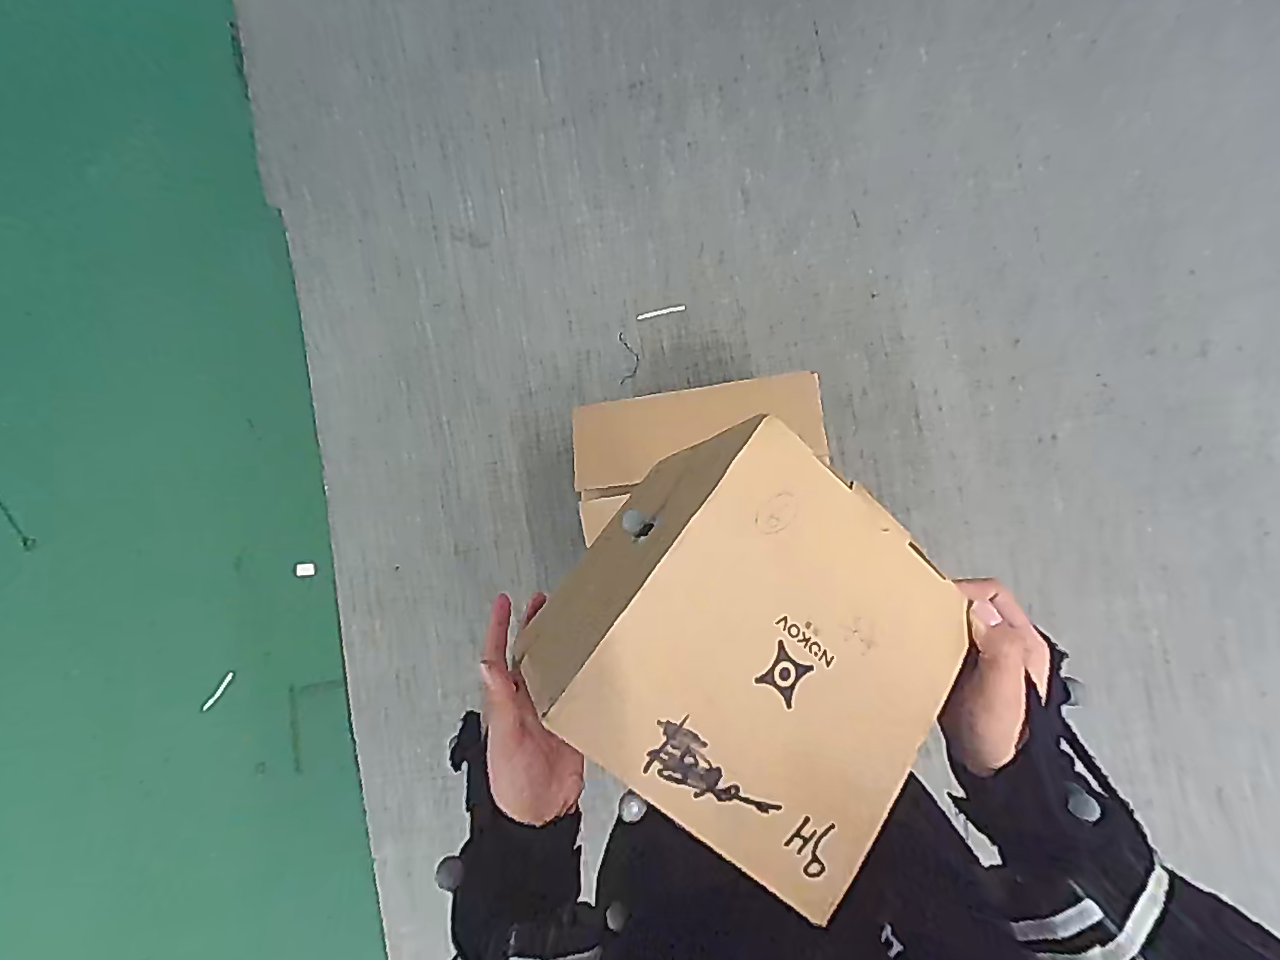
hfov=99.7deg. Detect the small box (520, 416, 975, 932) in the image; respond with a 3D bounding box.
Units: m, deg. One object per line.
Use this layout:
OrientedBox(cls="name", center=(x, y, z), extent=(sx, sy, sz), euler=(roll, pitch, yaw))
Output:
OrientedBox(cls="small box", center=(0.045, 0.093, 0.325), extent=(0.168, 0.176, 0.179), euler=(41, 73, -8))
